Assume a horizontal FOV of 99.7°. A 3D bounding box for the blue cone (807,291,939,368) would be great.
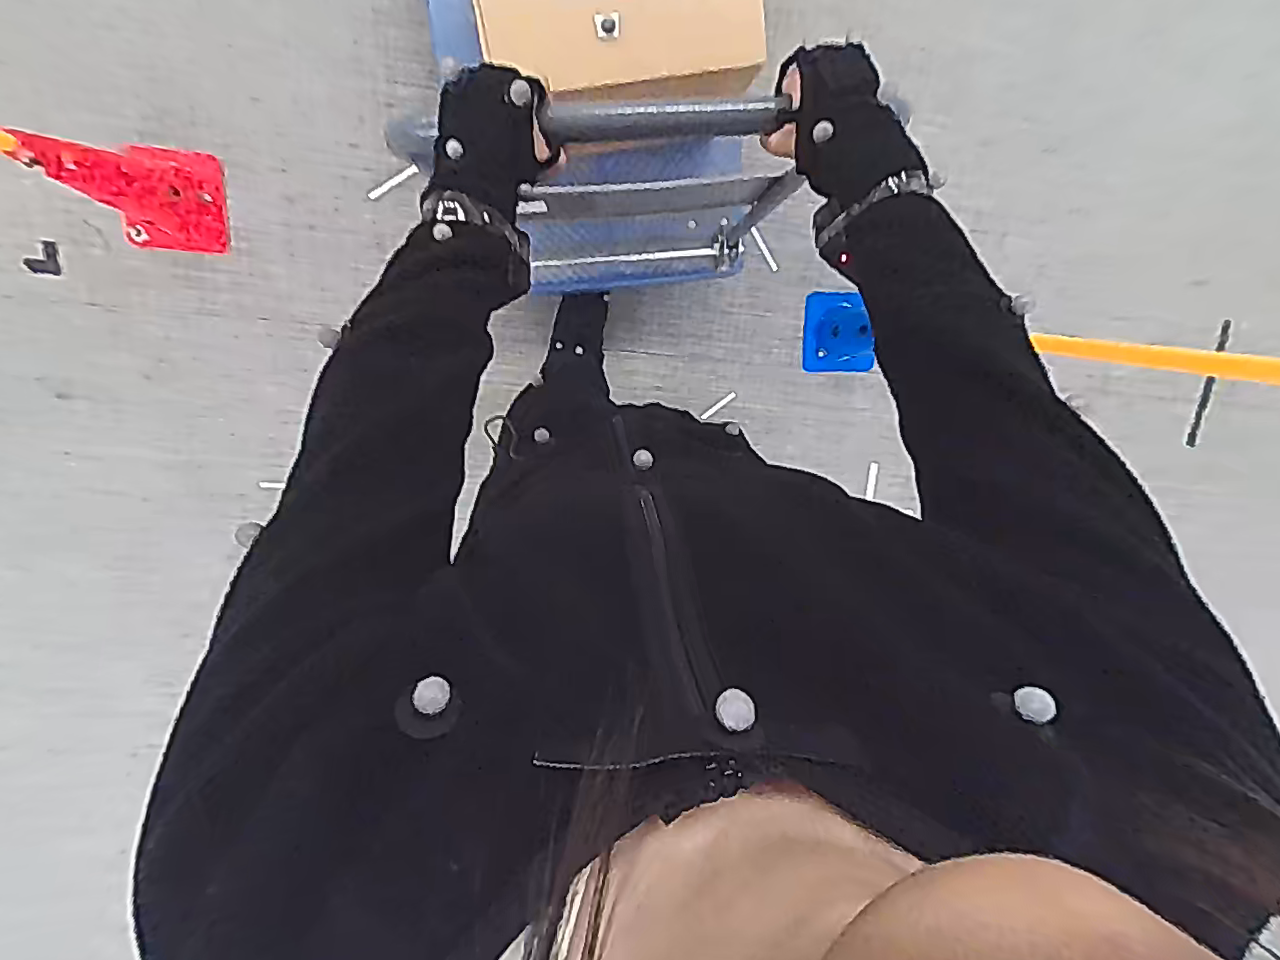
[{"bbox_3d":[0.545,-0.350,1.237,0.193,0.380,0.192,0,103,-8],"label":"blue cone"}]
